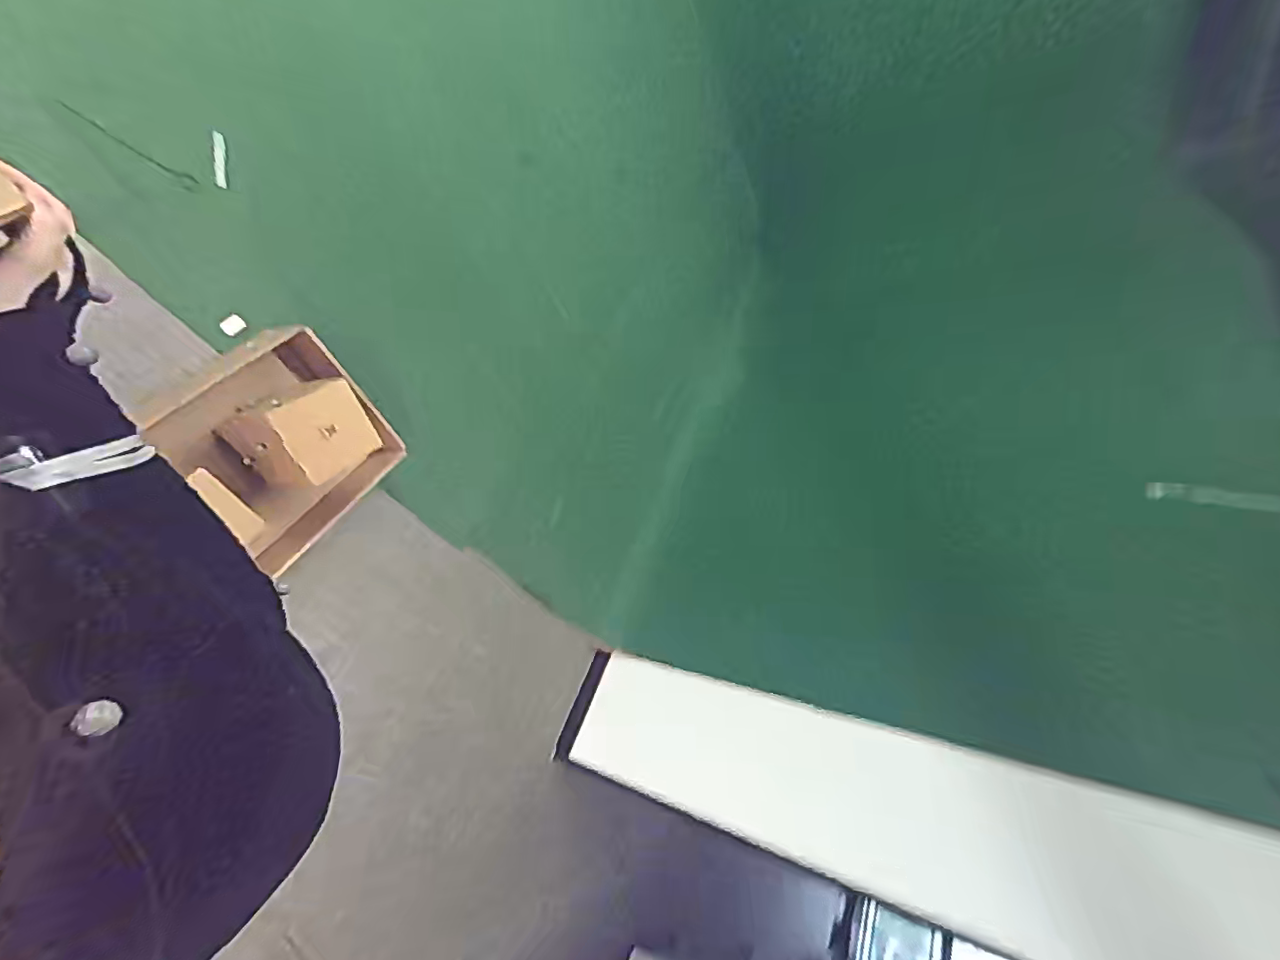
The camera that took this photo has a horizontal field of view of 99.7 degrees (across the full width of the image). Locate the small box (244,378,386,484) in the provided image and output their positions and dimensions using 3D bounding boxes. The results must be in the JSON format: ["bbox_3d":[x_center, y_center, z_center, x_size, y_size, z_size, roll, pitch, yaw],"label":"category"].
[{"bbox_3d":[-0.702,-0.111,1.172,0.179,0.176,0.168,-45,128,-40],"label":"small box"}]
